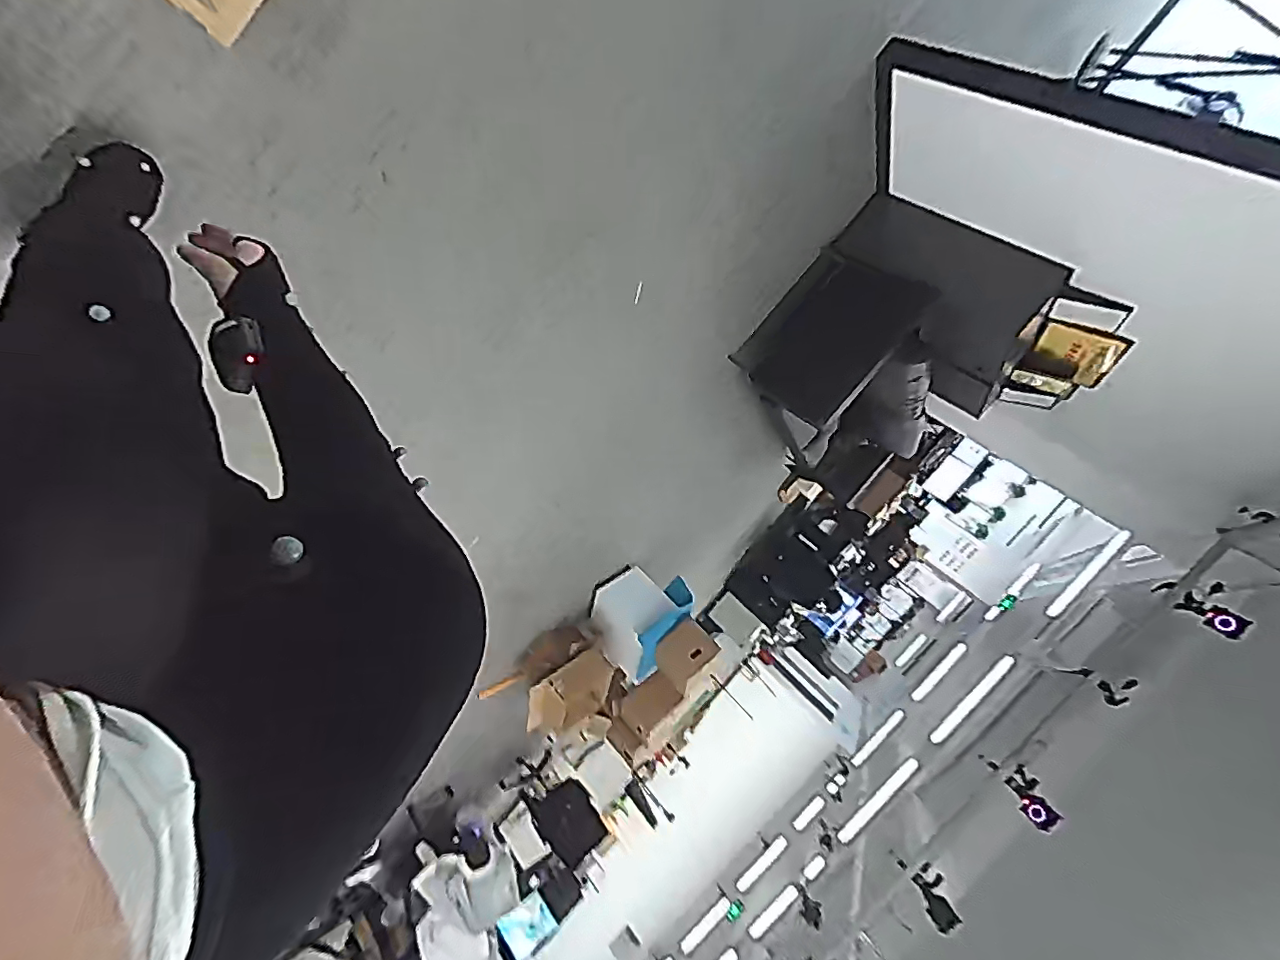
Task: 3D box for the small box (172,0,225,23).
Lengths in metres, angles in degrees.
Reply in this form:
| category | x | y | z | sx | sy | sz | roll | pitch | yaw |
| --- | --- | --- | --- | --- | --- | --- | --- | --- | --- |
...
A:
| category | x | y | z | sx | sy | sz | roll | pitch | yaw |
| --- | --- | --- | --- | --- | --- | --- | --- | --- | --- |
| small box | -0.752 | -0.881 | 0.848 | 0.168 | 0.176 | 0.179 | -51 | 153 | 4 |
